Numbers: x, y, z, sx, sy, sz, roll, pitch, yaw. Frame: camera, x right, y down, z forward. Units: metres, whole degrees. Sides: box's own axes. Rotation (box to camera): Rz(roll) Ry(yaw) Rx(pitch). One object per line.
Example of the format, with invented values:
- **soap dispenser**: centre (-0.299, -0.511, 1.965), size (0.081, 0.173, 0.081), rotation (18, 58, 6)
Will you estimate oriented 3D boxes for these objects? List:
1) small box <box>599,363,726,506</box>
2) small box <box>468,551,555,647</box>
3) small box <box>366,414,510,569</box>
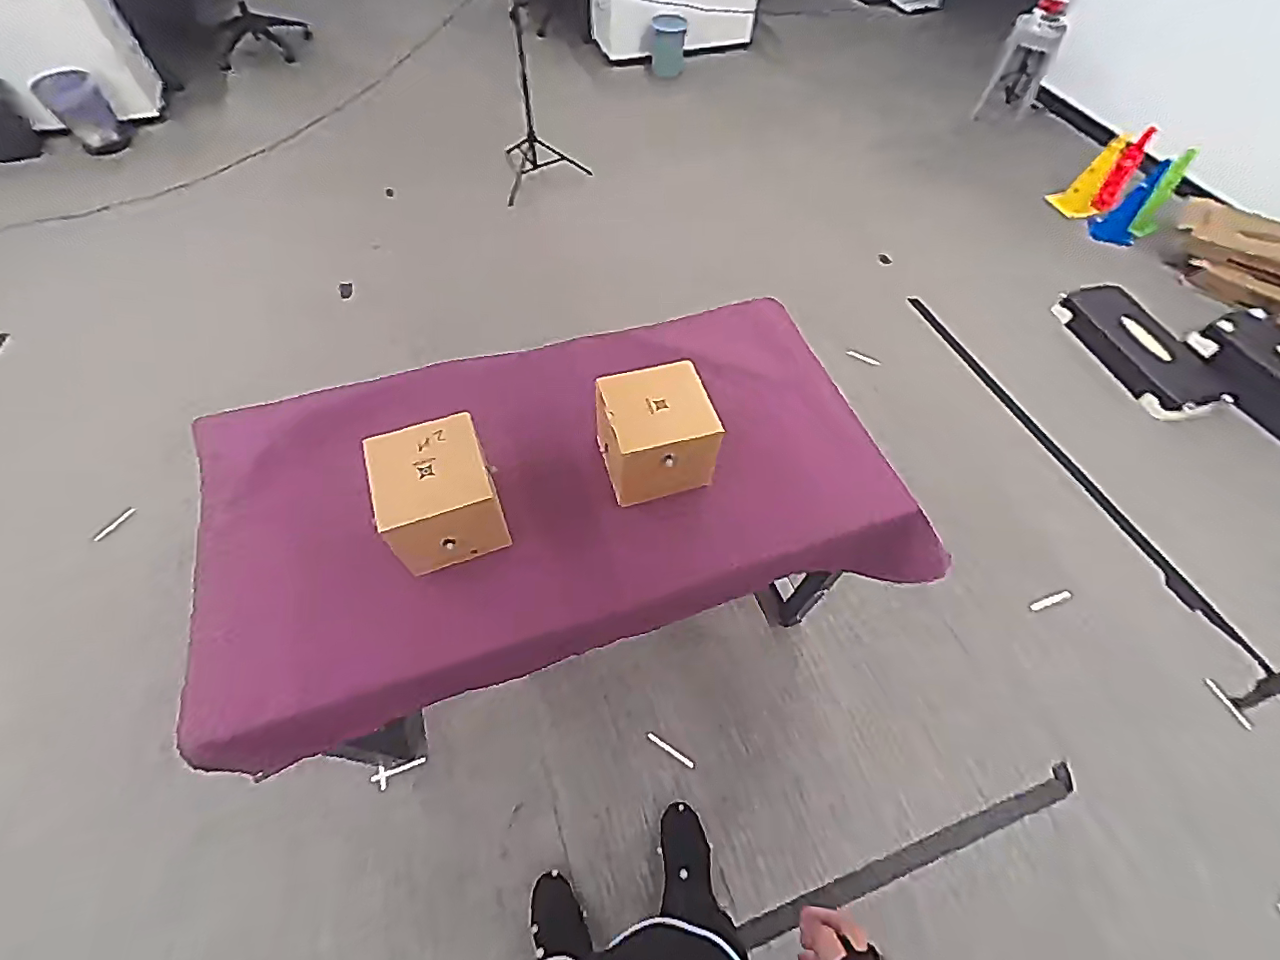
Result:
- **small box**: centre (0.031, -0.076, 0.958), size (0.179, 0.176, 0.168), rotation (-14, 60, -10)
- **small box**: centre (-0.333, 0.317, 1.422), size (0.179, 0.176, 0.168), rotation (-18, 60, -15)
- **small box**: centre (-0.320, 0.027, 0.878), size (0.168, 0.176, 0.179), rotation (-17, 60, -13)
